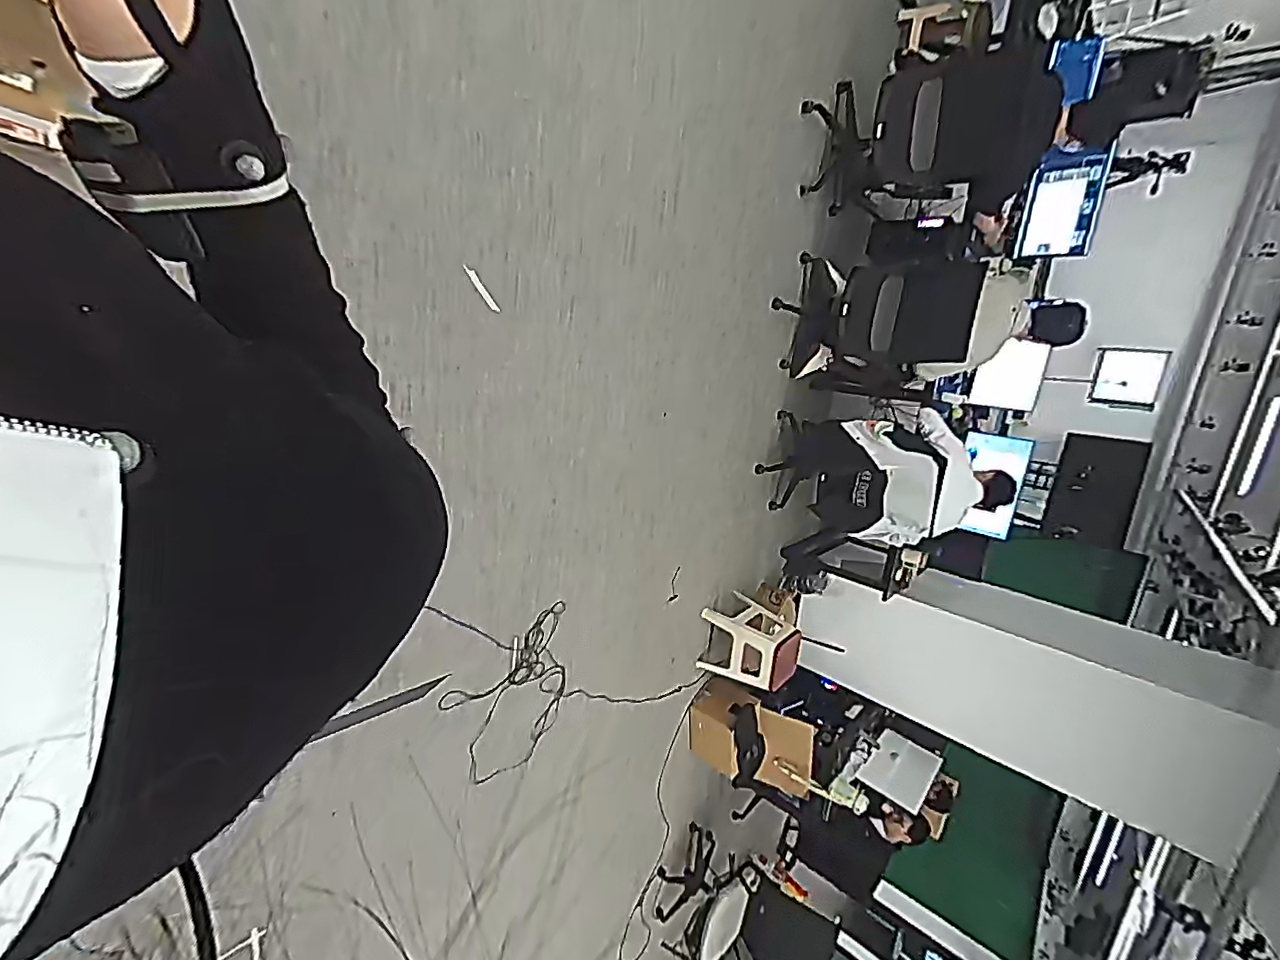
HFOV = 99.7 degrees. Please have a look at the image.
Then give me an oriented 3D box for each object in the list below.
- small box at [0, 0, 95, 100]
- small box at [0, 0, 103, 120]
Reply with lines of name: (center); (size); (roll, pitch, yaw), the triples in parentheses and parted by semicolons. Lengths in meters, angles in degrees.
small box: (-0.573, -0.453, 0.440); (0.168, 0.176, 0.179); (0, 105, -53)
small box: (-0.688, -0.497, 0.551); (0.179, 0.176, 0.168); (-5, 108, -51)
